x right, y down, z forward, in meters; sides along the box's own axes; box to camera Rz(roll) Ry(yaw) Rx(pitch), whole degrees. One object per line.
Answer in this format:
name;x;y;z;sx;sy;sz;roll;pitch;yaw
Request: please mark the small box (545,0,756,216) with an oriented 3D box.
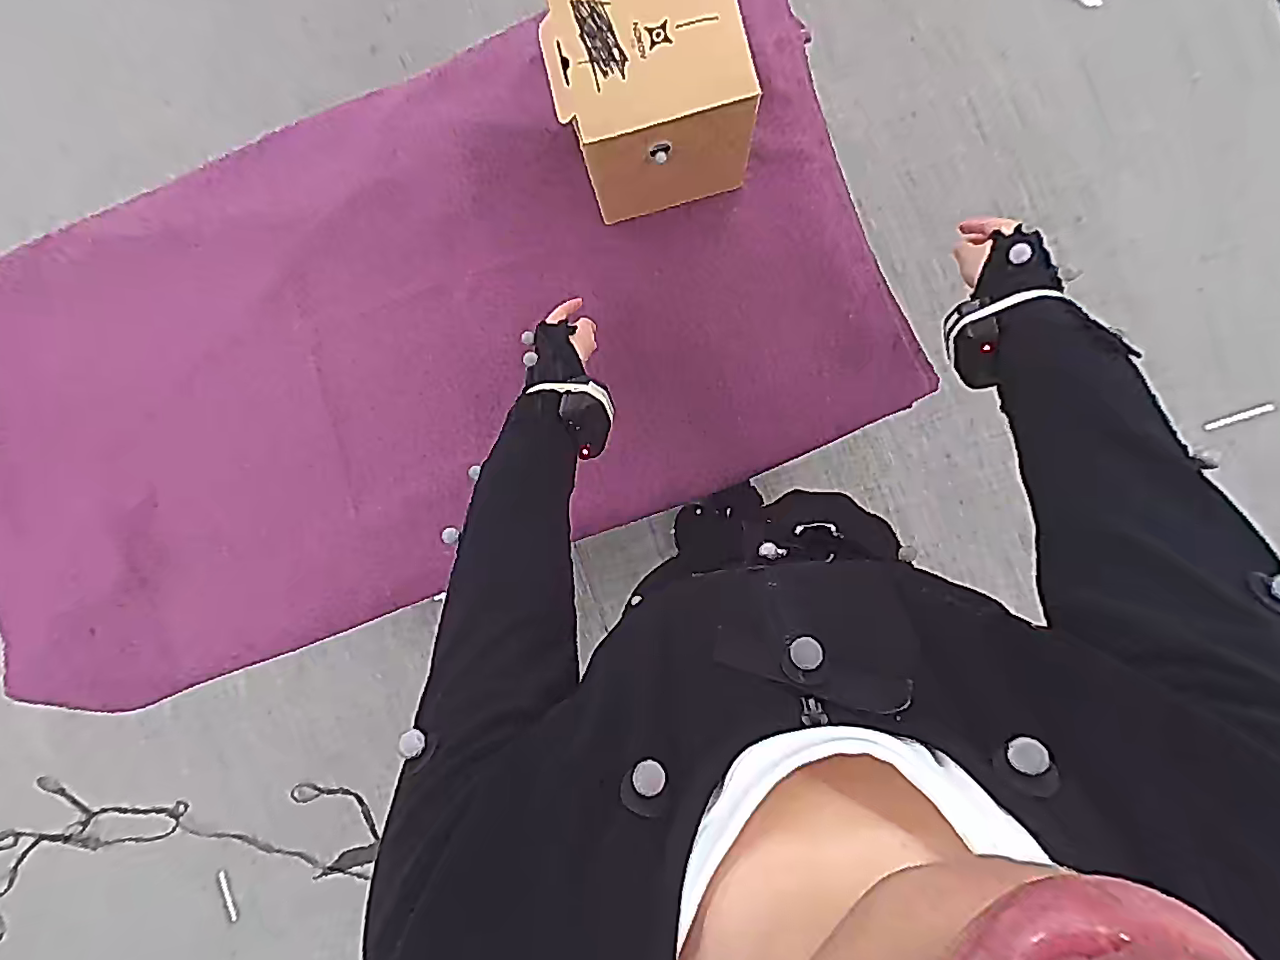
small box;0.015;-0.419;0.591;0.179;0.176;0.168;-14;90;4
